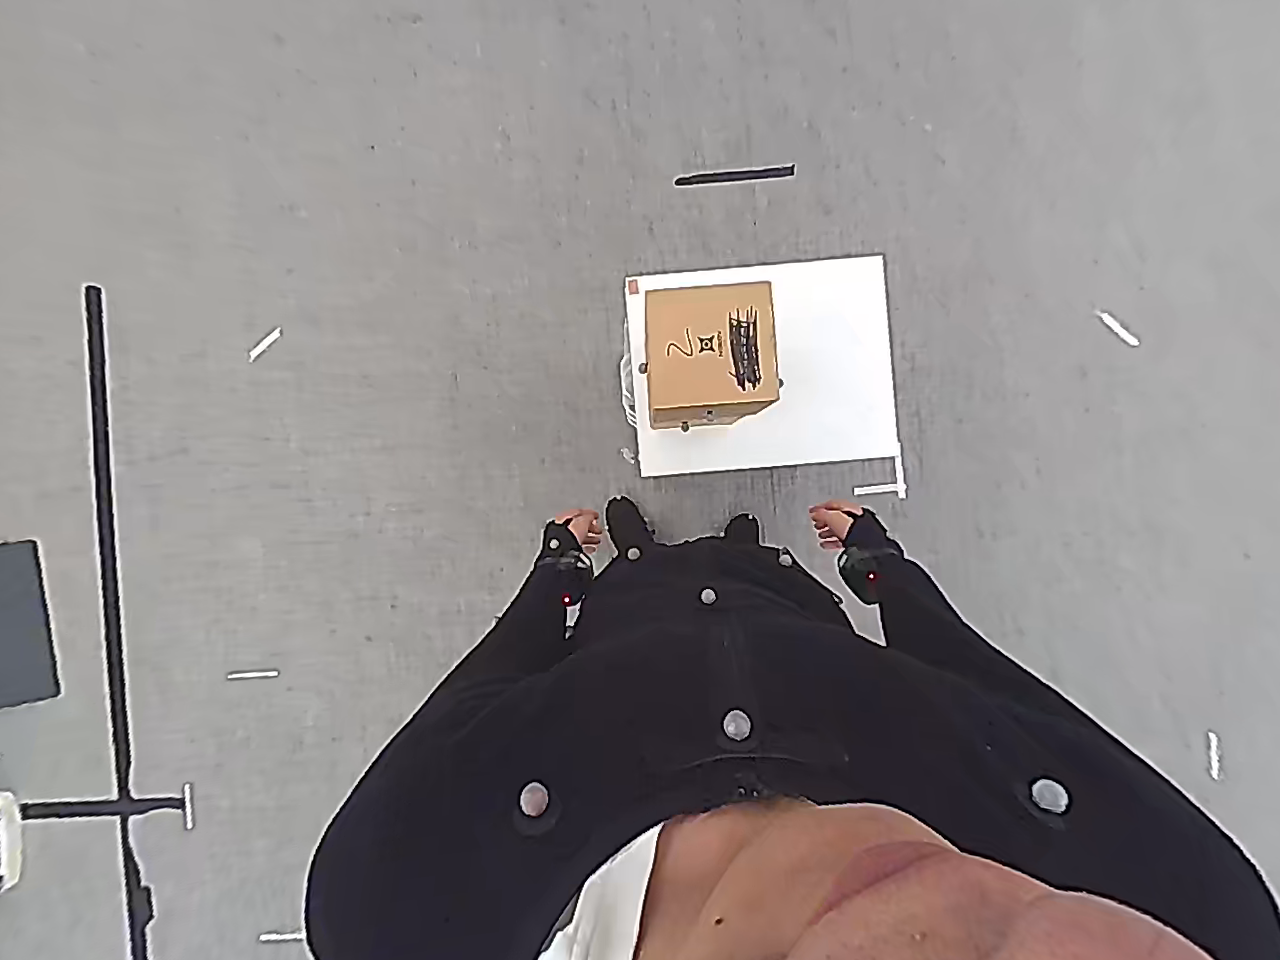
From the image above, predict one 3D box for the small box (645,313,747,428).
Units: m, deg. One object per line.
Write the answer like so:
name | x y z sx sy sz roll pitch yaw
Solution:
small box | 0.095 -0.188 0.981 0.168 0.176 0.179 -4 90 0
